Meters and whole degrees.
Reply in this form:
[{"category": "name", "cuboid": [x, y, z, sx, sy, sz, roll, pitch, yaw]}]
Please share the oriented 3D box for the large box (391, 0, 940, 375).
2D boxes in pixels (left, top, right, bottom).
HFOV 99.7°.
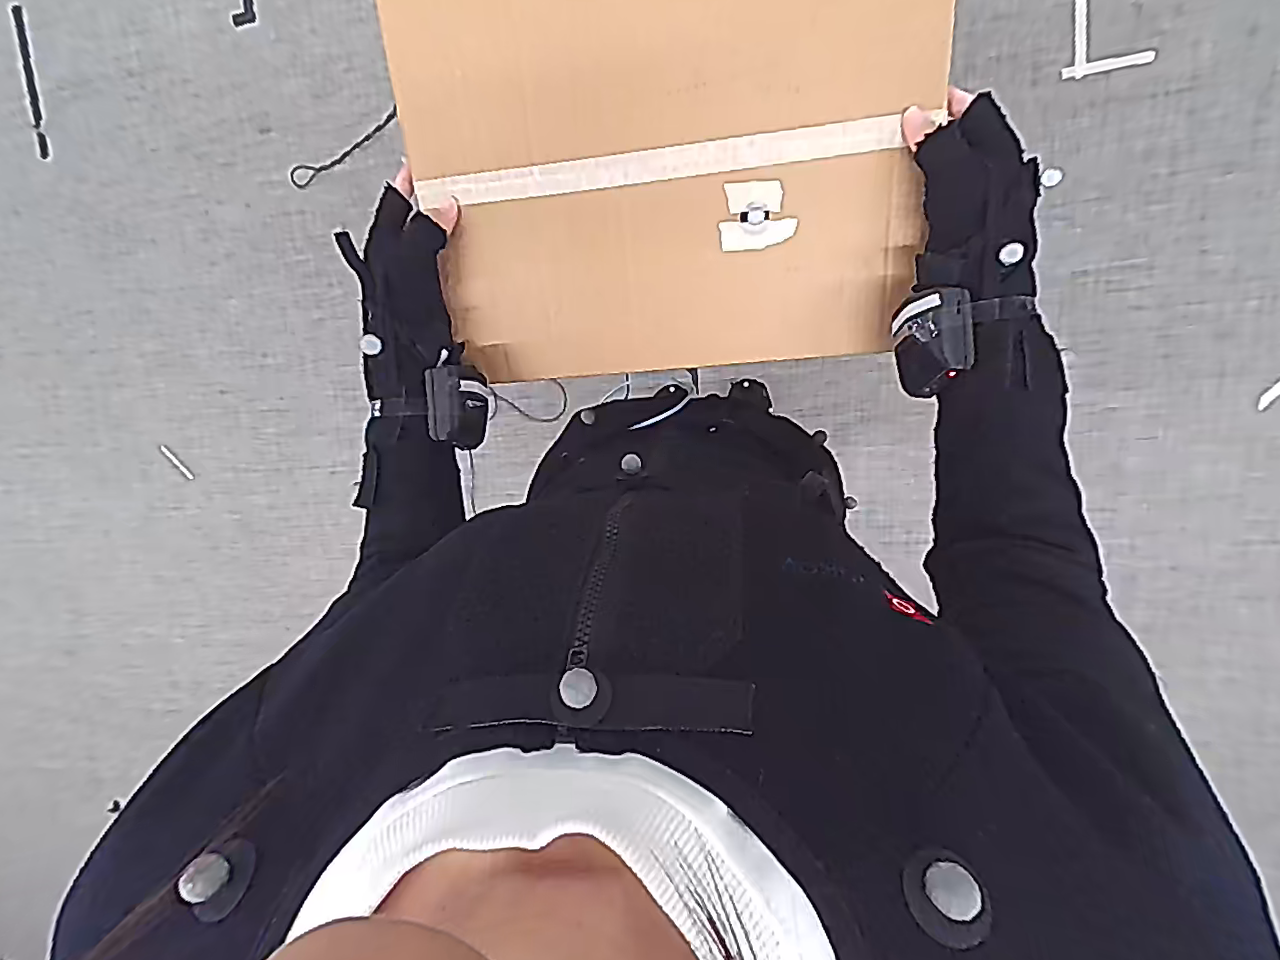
[{"category": "large box", "cuboid": [0.033, -0.305, 0.565, 0.408, 0.320, 0.320, -4, 110, 6]}]
